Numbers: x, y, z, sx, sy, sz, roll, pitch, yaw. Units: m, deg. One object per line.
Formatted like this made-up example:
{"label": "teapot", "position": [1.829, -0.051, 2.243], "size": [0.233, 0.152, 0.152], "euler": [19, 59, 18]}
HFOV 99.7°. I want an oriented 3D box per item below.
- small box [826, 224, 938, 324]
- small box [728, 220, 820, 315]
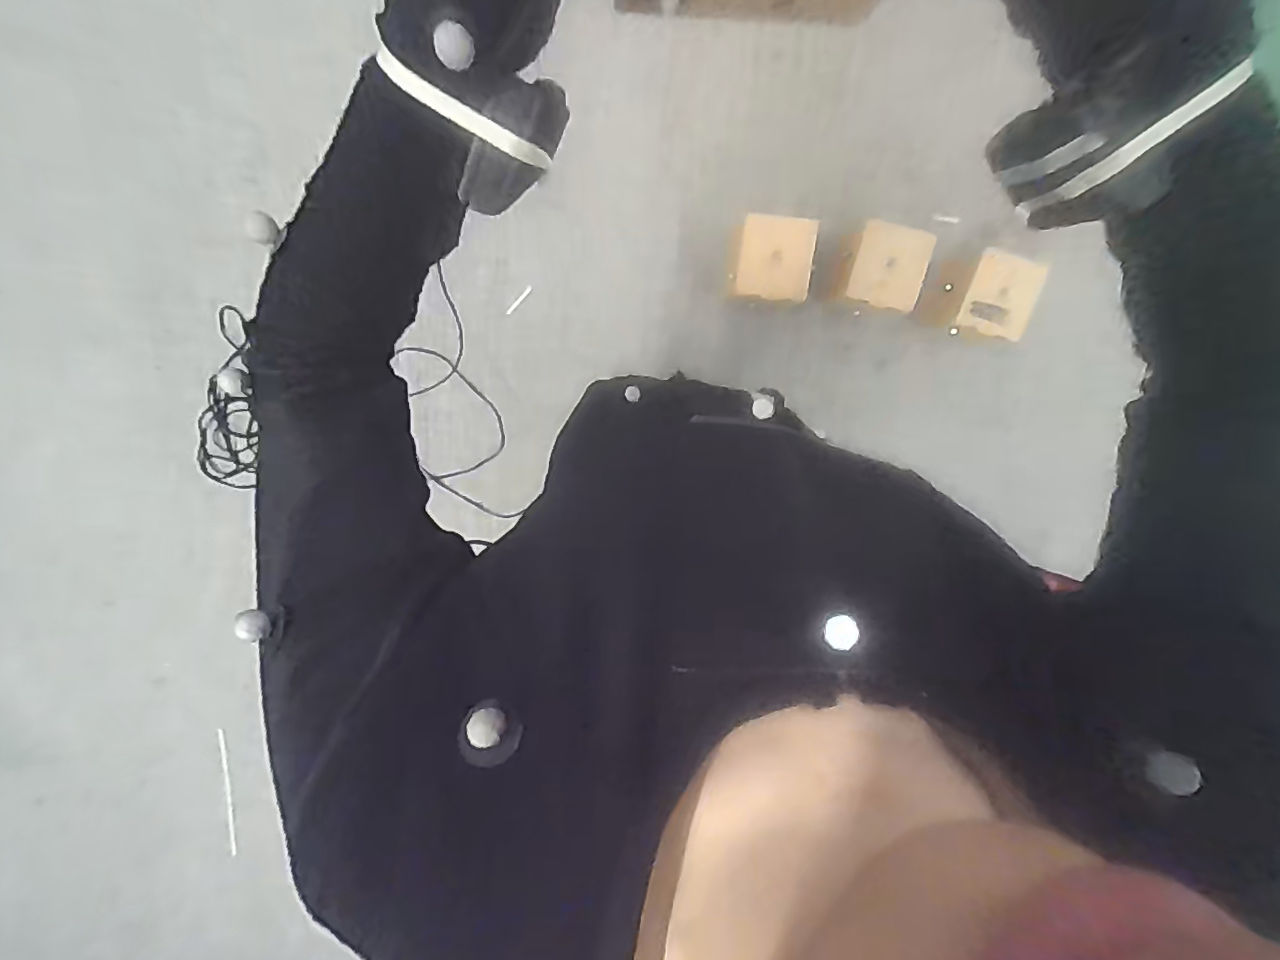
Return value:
{"label": "small box", "position": [0.568, -0.483, 1.295], "size": [0.168, 0.176, 0.179], "euler": [13, 102, -2]}
{"label": "small box", "position": [0.312, -0.501, 1.293], "size": [0.168, 0.176, 0.179], "euler": [6, 102, -1]}
